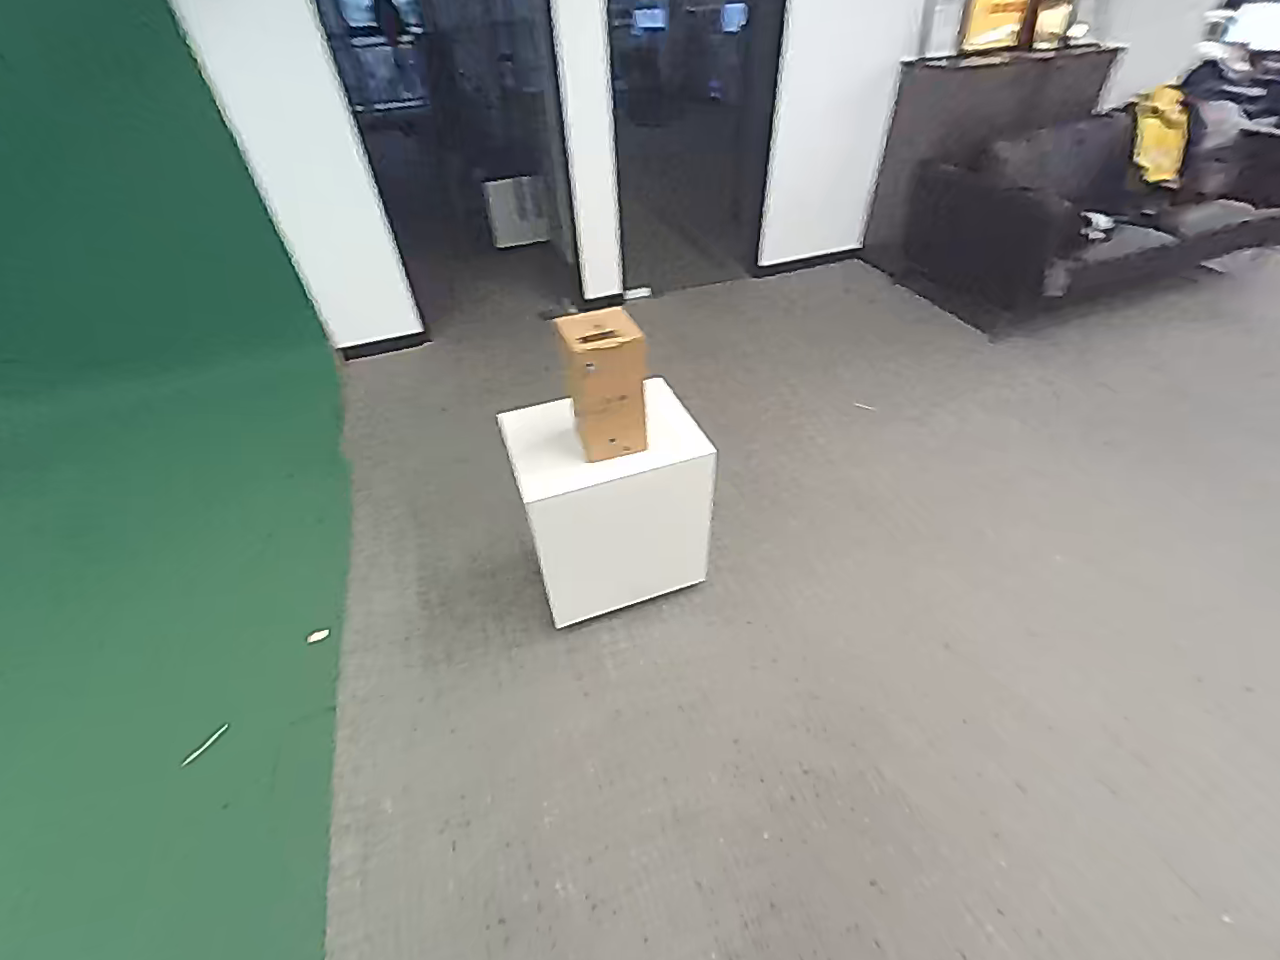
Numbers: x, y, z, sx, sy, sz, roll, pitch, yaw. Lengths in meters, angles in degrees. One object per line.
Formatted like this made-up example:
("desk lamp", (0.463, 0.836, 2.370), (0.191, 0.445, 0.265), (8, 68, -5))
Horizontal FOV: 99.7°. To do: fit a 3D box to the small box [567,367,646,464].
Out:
("small box", (-0.088, -0.170, 1.420), (0.168, 0.176, 0.179), (-15, 43, -12))
